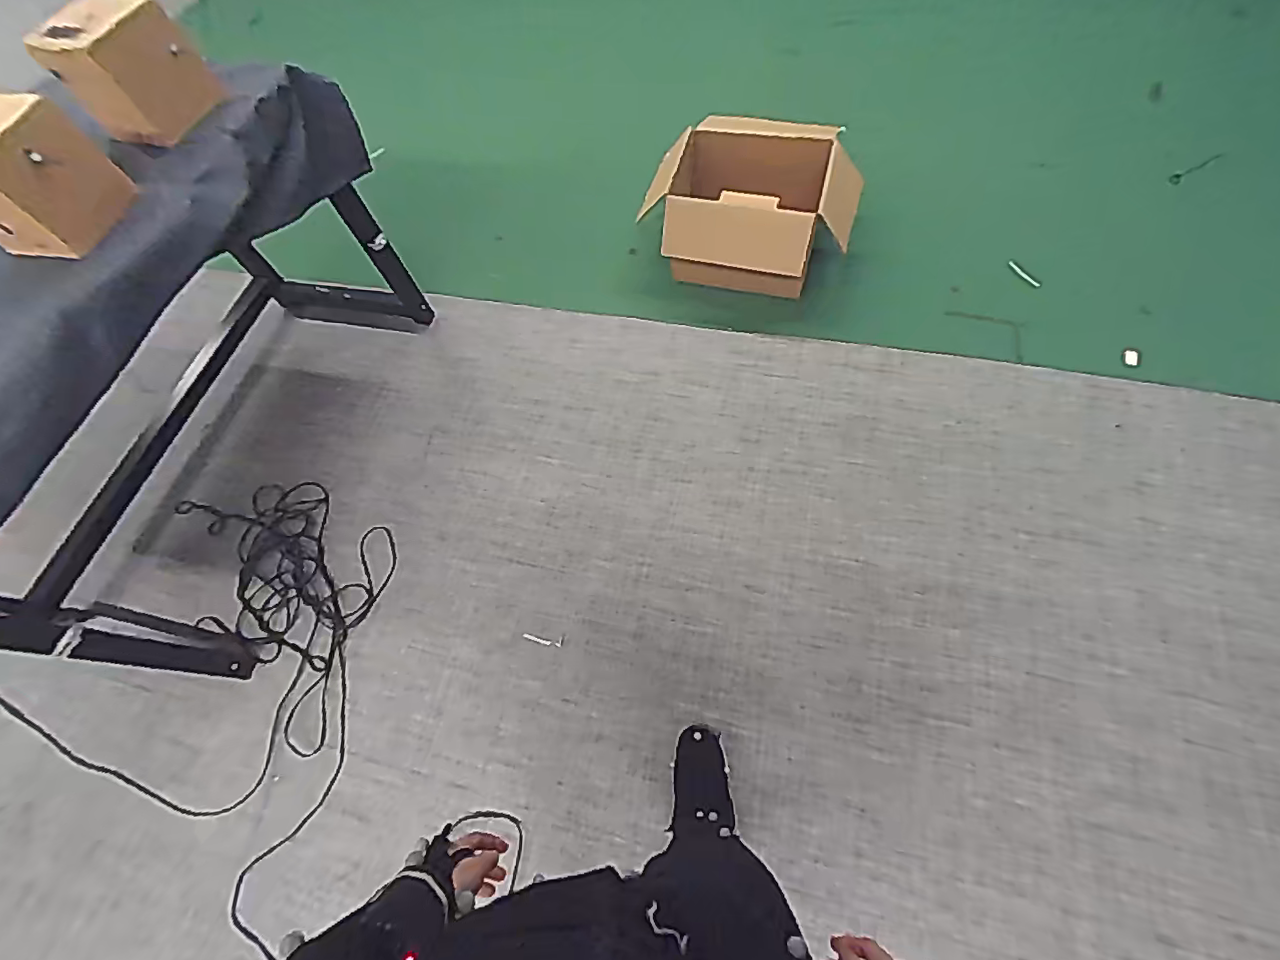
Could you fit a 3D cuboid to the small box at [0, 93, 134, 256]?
[{"bbox_3d":[-1.013,-0.505,0.898,0.168,0.176,0.179,8,66,10],"label":"small box"}]
